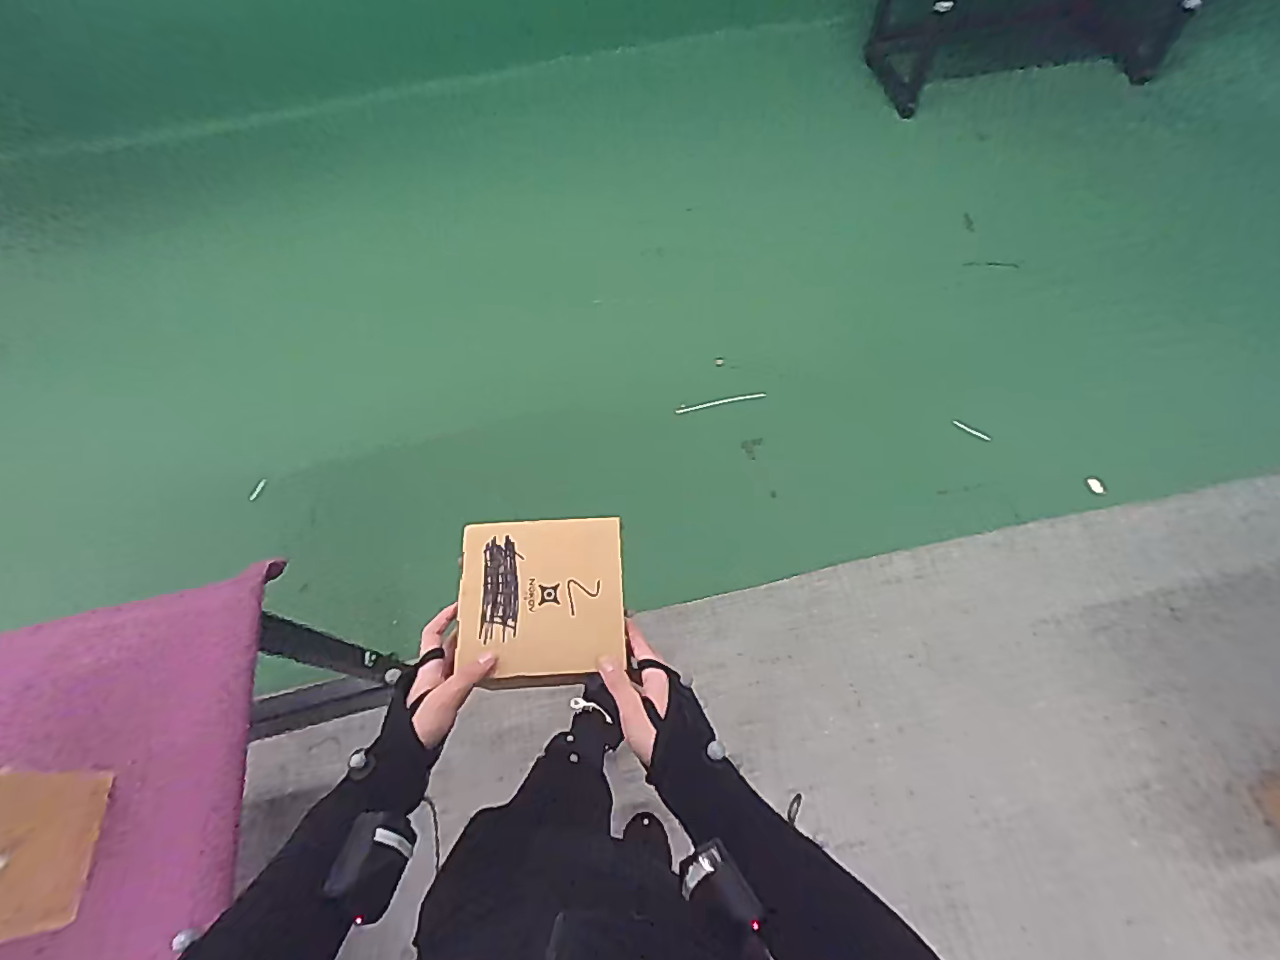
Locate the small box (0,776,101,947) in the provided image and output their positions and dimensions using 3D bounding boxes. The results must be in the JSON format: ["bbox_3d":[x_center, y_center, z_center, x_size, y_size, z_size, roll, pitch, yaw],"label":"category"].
[{"bbox_3d":[-0.819,0.464,0.648,0.168,0.176,0.179,-8,63,-1],"label":"small box"}]
